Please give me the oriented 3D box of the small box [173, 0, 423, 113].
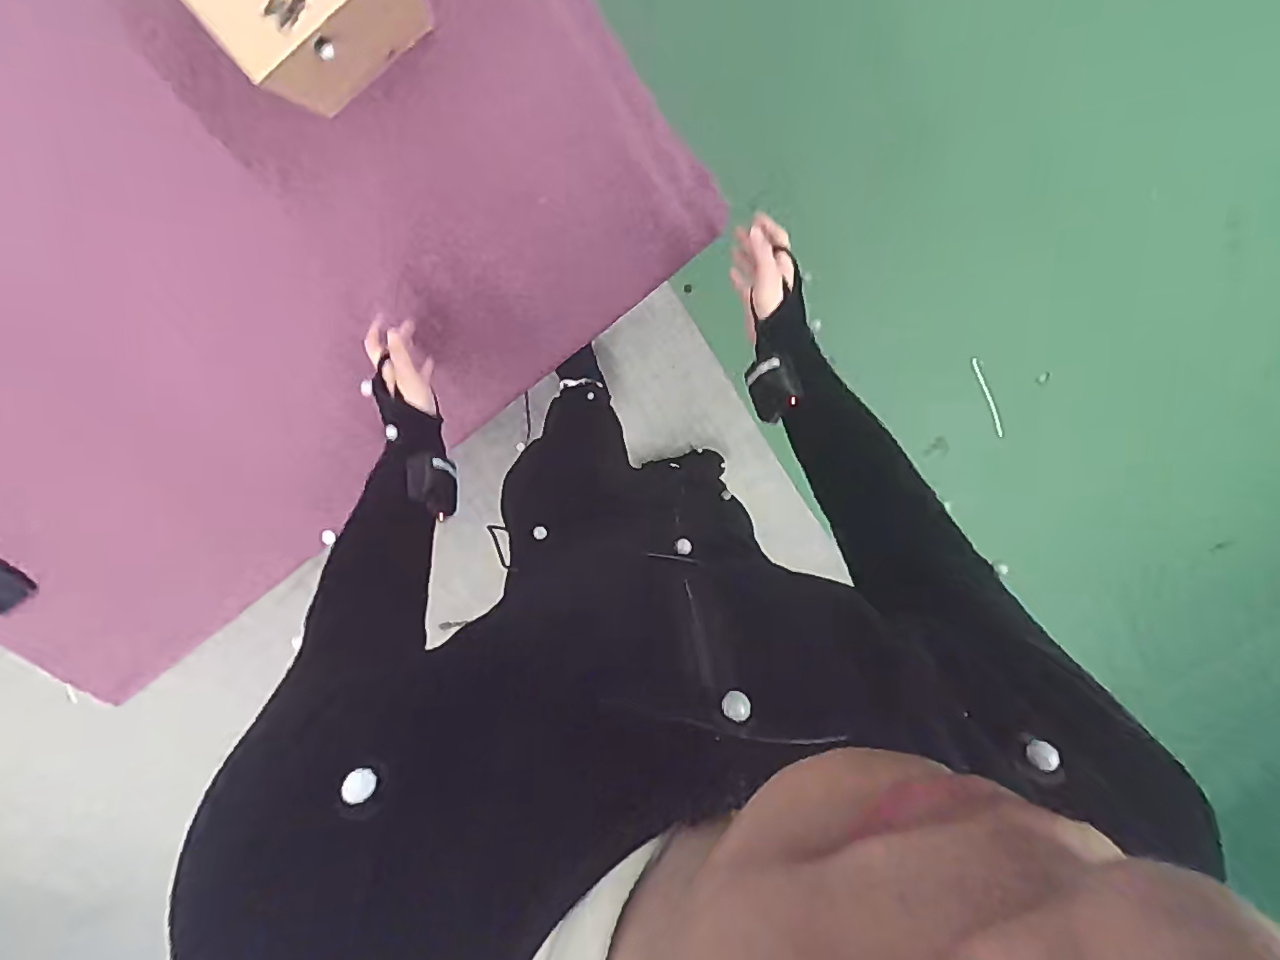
[{"bbox_3d":[-0.332,-0.478,0.489,0.168,0.176,0.179,-35,114,8],"label":"small box"}]
